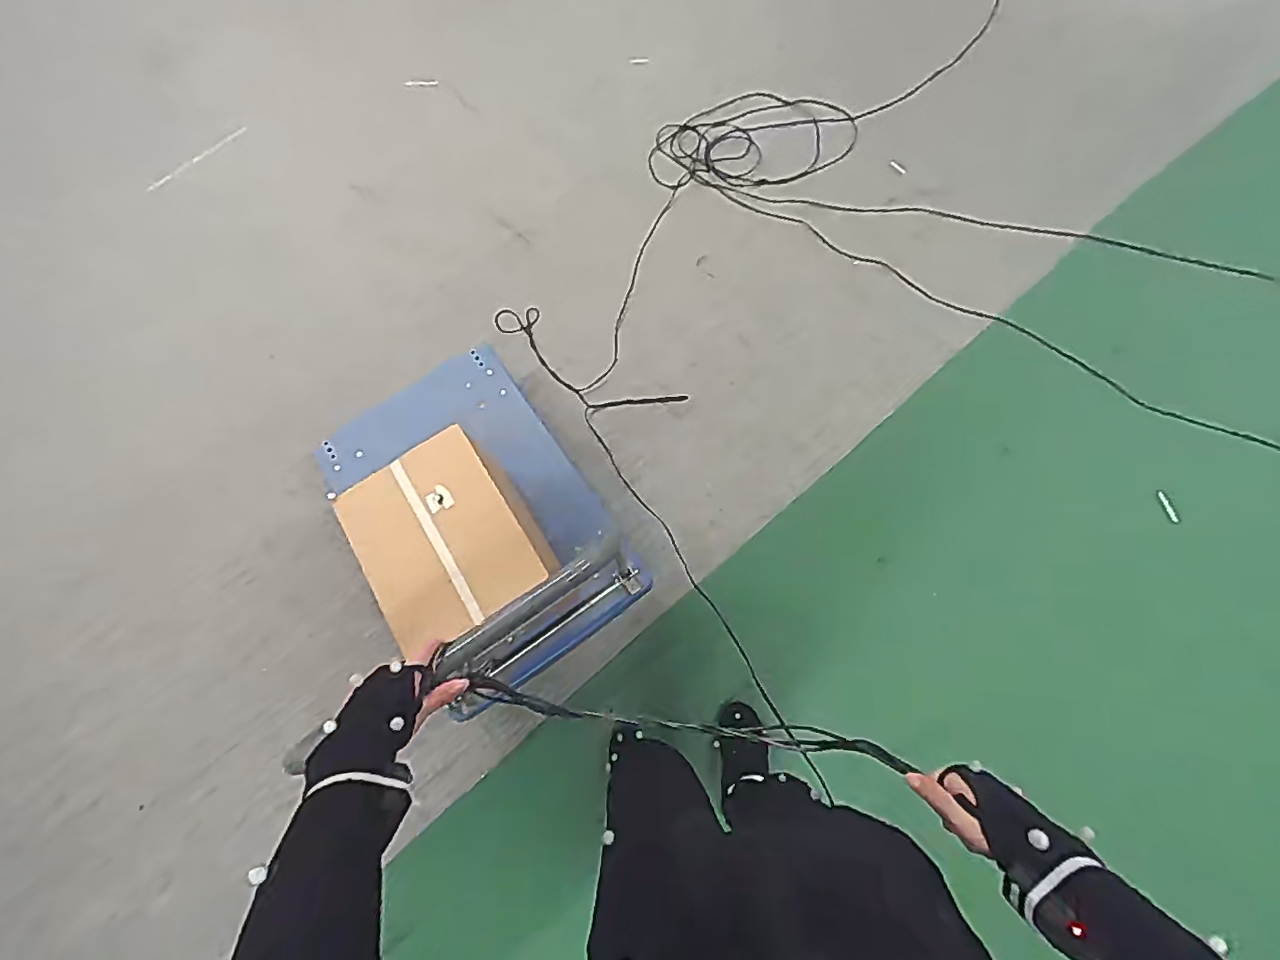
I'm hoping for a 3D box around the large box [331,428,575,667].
[{"bbox_3d":[-0.402,0.166,1.233,0.320,0.320,0.408,-33,72,-7],"label":"large box"}]
